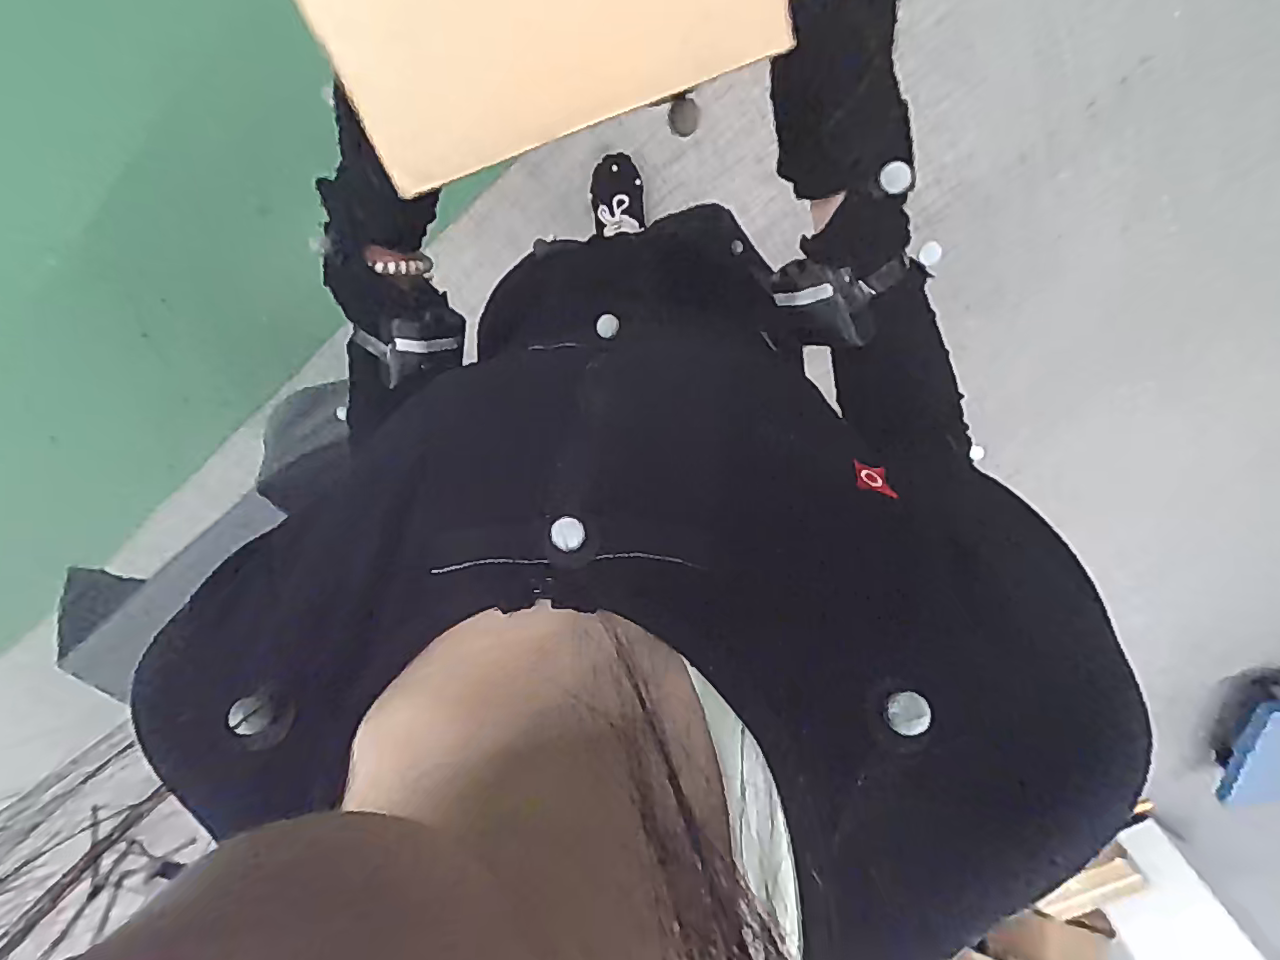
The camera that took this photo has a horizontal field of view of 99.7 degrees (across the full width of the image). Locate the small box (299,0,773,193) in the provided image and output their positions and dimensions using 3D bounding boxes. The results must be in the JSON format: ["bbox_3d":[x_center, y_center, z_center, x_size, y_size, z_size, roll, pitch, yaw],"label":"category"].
[{"bbox_3d":[-0.048,-0.261,0.247,0.179,0.176,0.168,-11,126,16],"label":"small box"}]
